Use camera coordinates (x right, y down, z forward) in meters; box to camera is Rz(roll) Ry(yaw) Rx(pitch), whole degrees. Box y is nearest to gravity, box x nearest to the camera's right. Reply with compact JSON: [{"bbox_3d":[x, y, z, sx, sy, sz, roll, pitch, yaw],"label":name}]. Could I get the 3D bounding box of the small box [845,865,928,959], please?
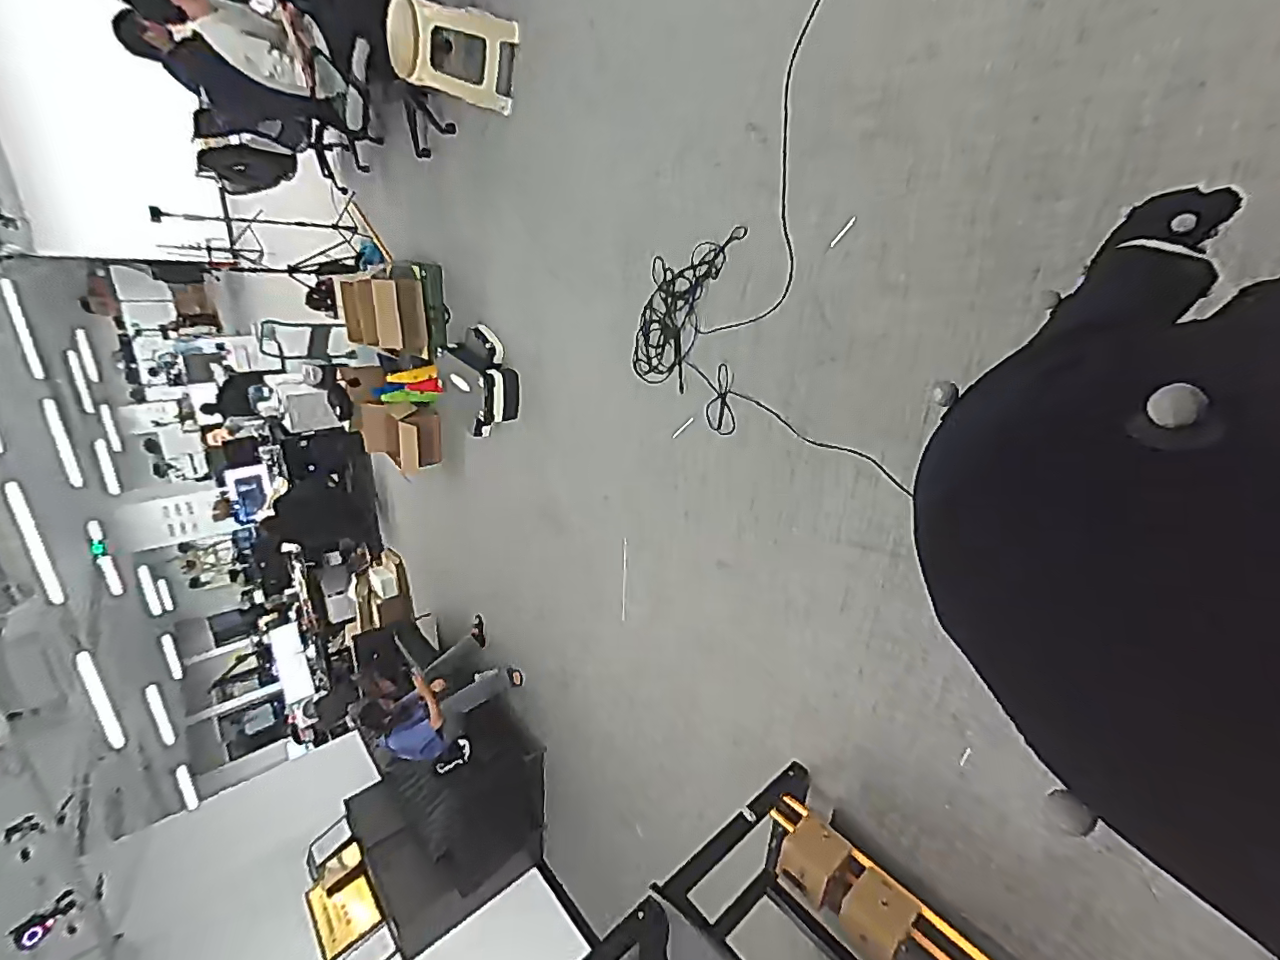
[{"bbox_3d":[0.765,1.355,1.673,0.168,0.176,0.179,24,120,44],"label":"small box"}]
